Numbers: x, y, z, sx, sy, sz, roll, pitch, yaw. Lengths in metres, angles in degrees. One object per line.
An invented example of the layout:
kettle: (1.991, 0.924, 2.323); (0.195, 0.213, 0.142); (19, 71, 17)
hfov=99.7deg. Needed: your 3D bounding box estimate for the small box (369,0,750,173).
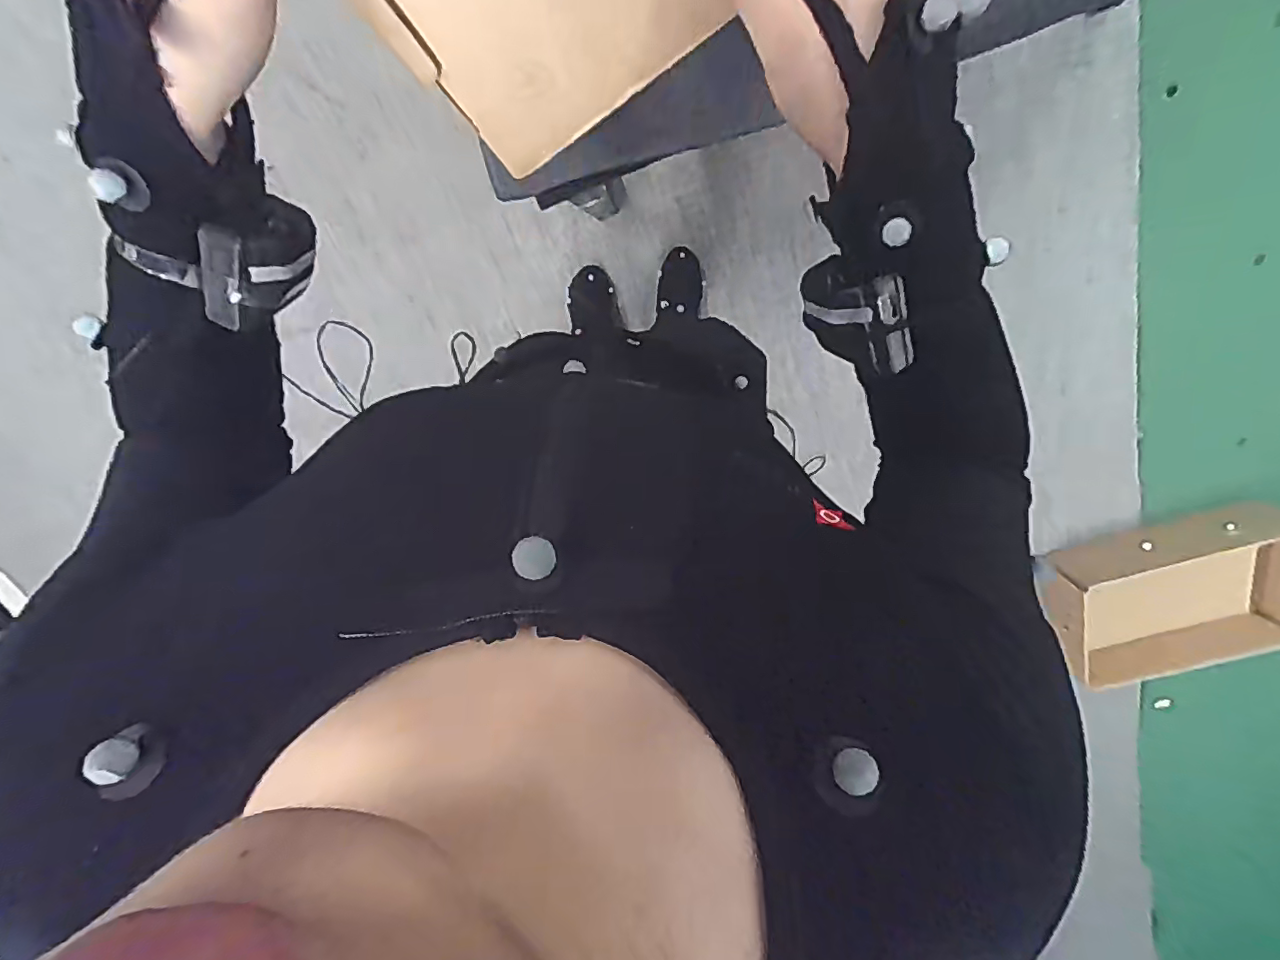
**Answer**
small box: (-0.044, -0.303, 0.260); (0.179, 0.176, 0.168); (-21, 140, 27)
